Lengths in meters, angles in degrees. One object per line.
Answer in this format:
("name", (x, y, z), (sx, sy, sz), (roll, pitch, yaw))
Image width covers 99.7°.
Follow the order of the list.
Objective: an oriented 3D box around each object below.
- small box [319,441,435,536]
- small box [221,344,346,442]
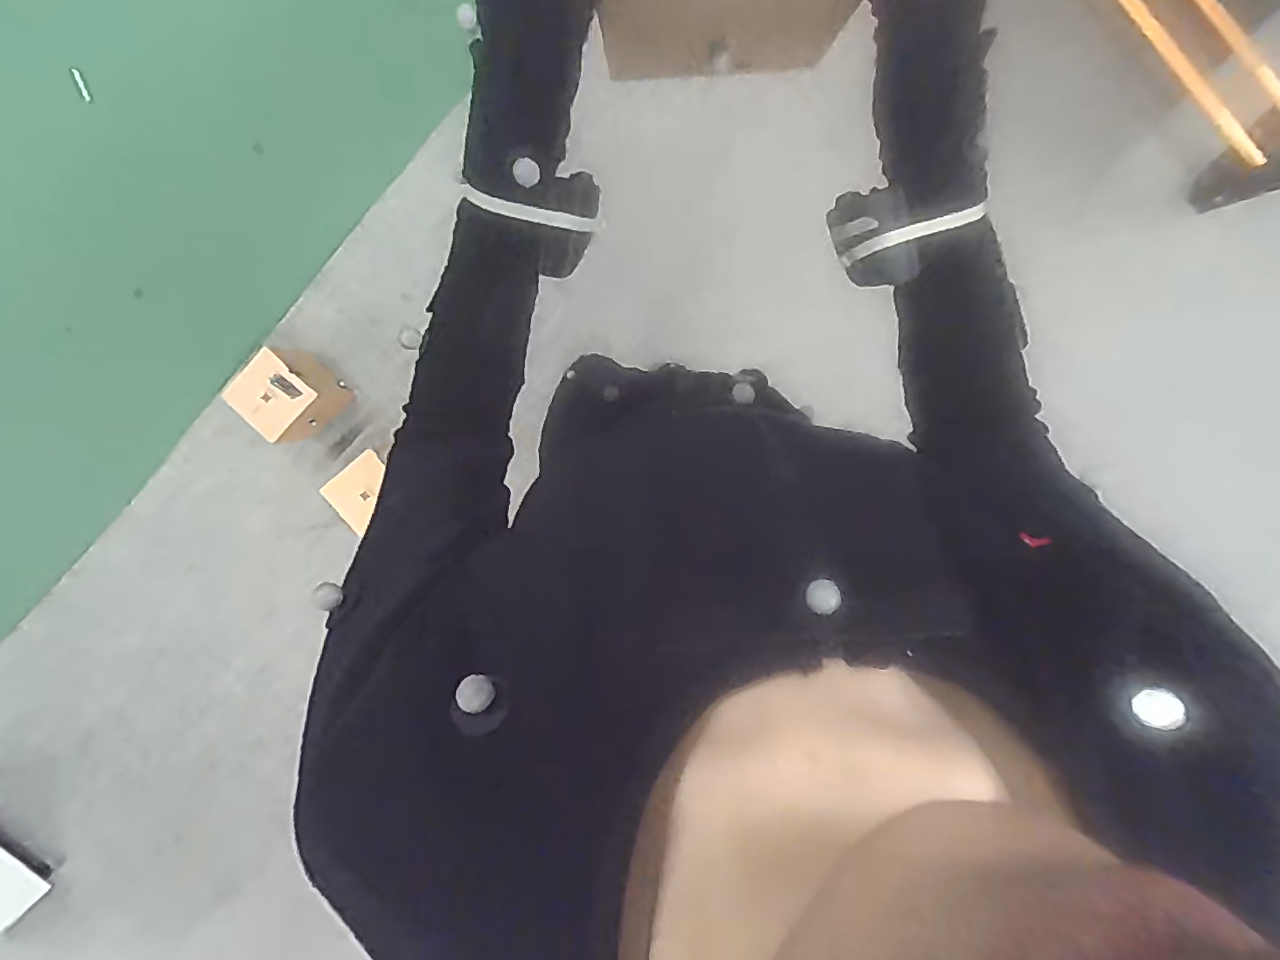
("small box", (-0.669, 0.015, 1.401), (0.179, 0.176, 0.168), (-39, 97, 6))
("small box", (-0.881, -0.220, 1.362), (0.179, 0.176, 0.168), (-43, 97, 8))
